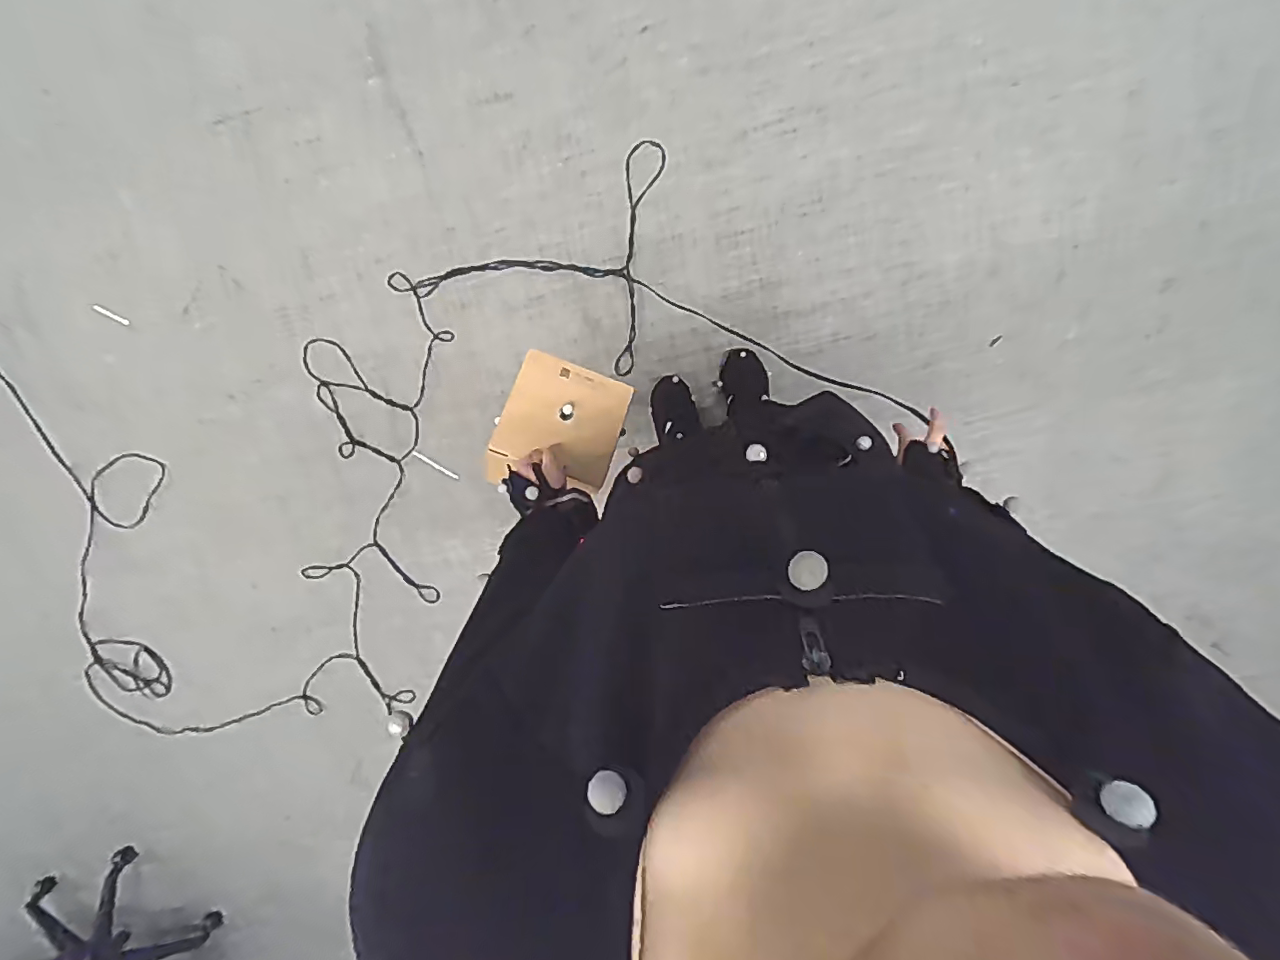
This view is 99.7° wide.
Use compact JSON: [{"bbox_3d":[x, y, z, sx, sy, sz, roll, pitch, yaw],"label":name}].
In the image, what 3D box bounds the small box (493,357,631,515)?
[{"bbox_3d":[-0.122,-0.064,0.842,0.168,0.179,0.176,19,70,-9],"label":"small box"}]
